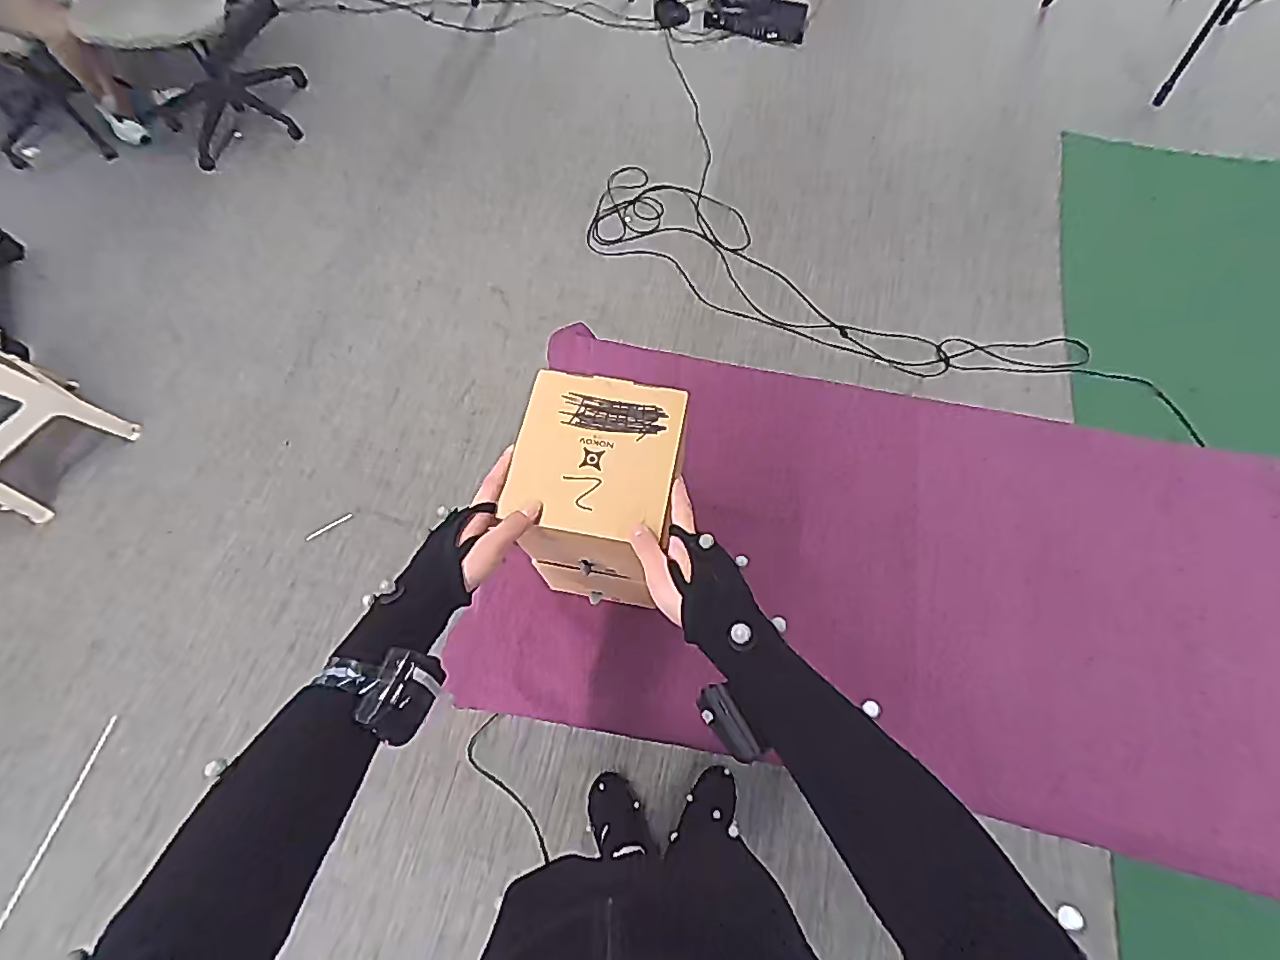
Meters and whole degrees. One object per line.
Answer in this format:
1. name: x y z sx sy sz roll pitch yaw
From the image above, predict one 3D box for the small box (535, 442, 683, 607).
1. small box: -0.038 0.070 0.781 0.168 0.176 0.179 10 67 4
